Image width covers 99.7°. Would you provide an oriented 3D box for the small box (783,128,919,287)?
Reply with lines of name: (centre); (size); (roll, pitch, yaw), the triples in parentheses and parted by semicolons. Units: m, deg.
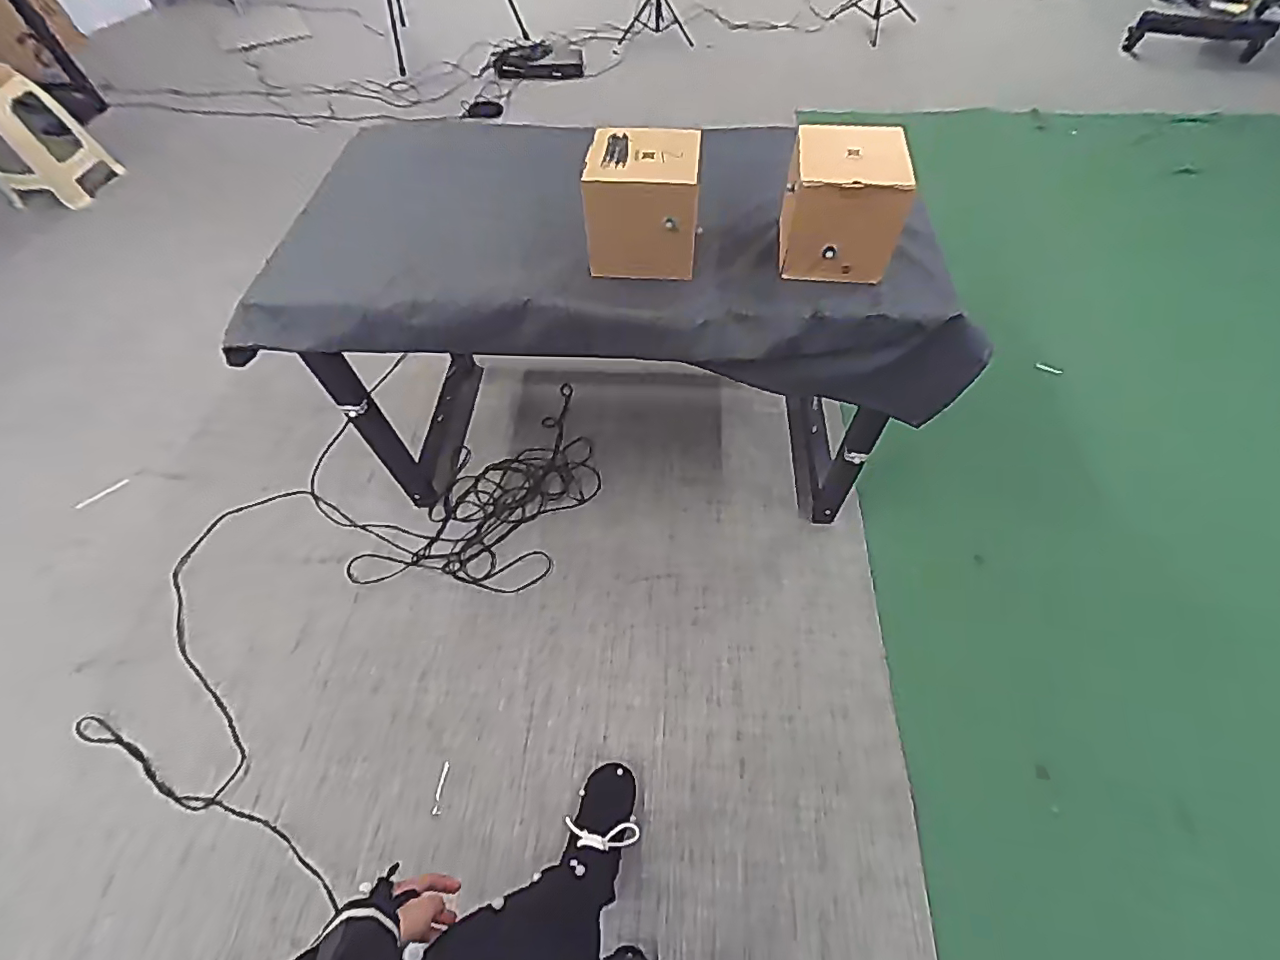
small box: (0.334, -0.449, 0.894); (0.168, 0.176, 0.179); (6, 58, 6)
